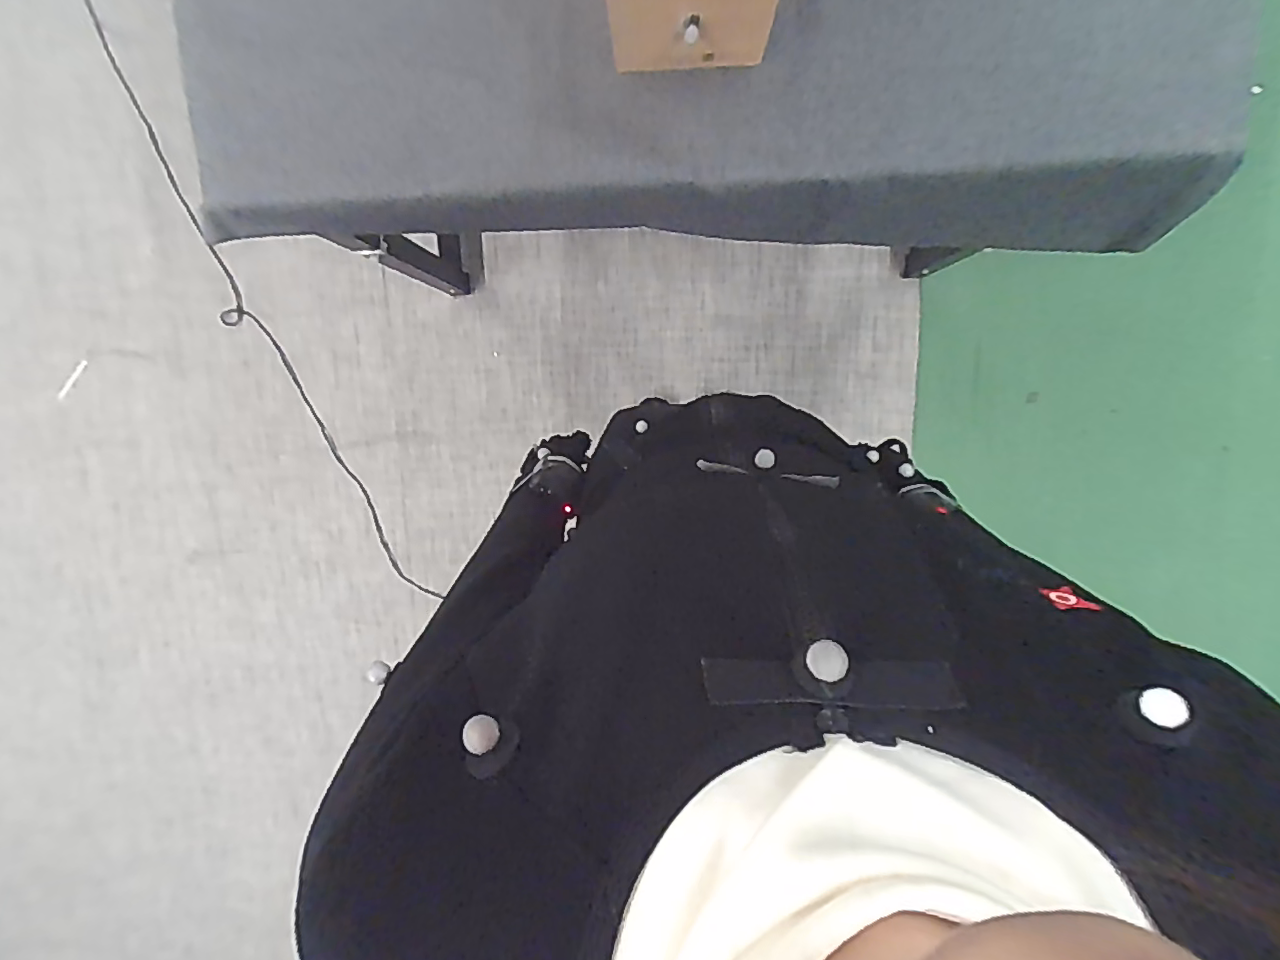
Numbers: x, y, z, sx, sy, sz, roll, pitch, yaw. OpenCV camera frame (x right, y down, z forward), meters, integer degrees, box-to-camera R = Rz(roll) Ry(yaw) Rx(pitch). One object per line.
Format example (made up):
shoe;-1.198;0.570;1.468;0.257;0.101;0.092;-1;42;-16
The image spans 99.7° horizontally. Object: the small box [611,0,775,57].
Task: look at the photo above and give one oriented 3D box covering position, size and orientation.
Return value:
small box;0.052;-0.547;0.522;0.168;0.176;0.179;-2;100;4
